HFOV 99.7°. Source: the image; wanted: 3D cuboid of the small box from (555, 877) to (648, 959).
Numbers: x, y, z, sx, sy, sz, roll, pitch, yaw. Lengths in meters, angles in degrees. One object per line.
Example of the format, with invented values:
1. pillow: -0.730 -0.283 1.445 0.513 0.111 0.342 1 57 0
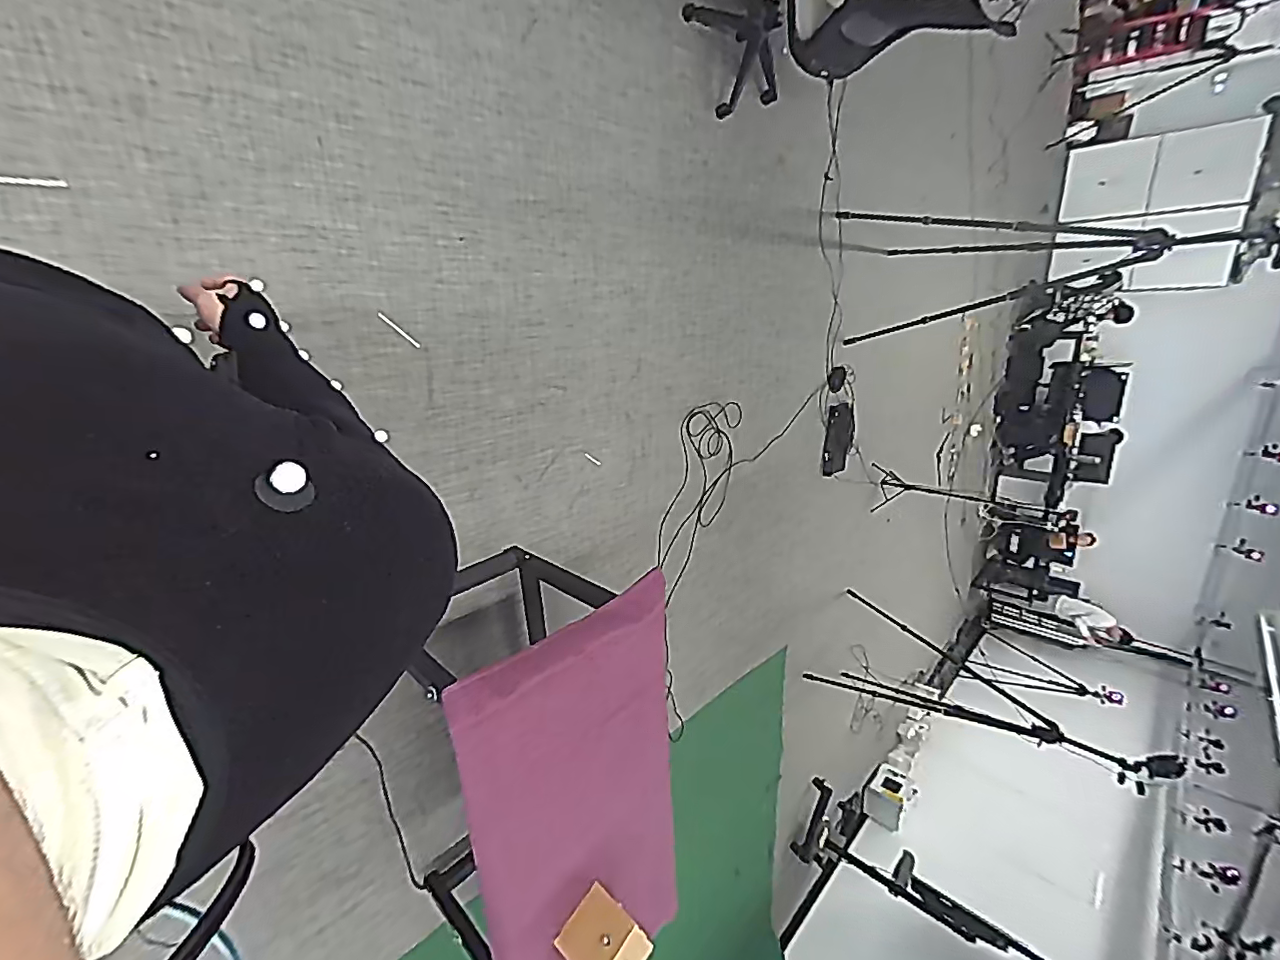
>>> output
1. small box: -0.113 1.262 1.496 0.179 0.176 0.168 -41 127 -31
